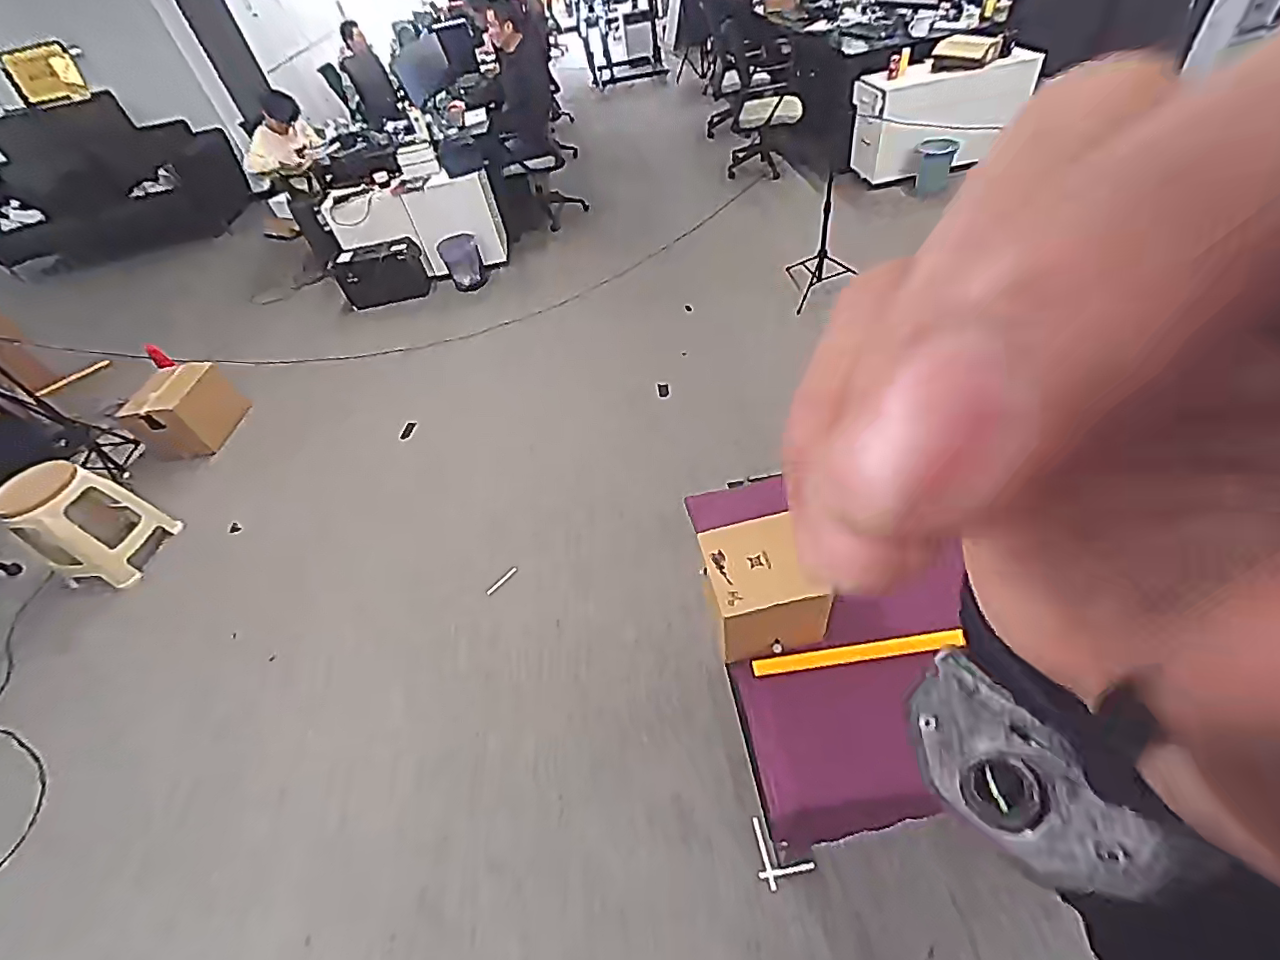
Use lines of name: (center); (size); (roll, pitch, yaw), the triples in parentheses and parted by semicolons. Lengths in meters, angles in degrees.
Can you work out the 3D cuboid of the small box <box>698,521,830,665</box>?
small box: (0.205, 0.198, 0.938); (0.179, 0.176, 0.168); (-12, 47, -1)
